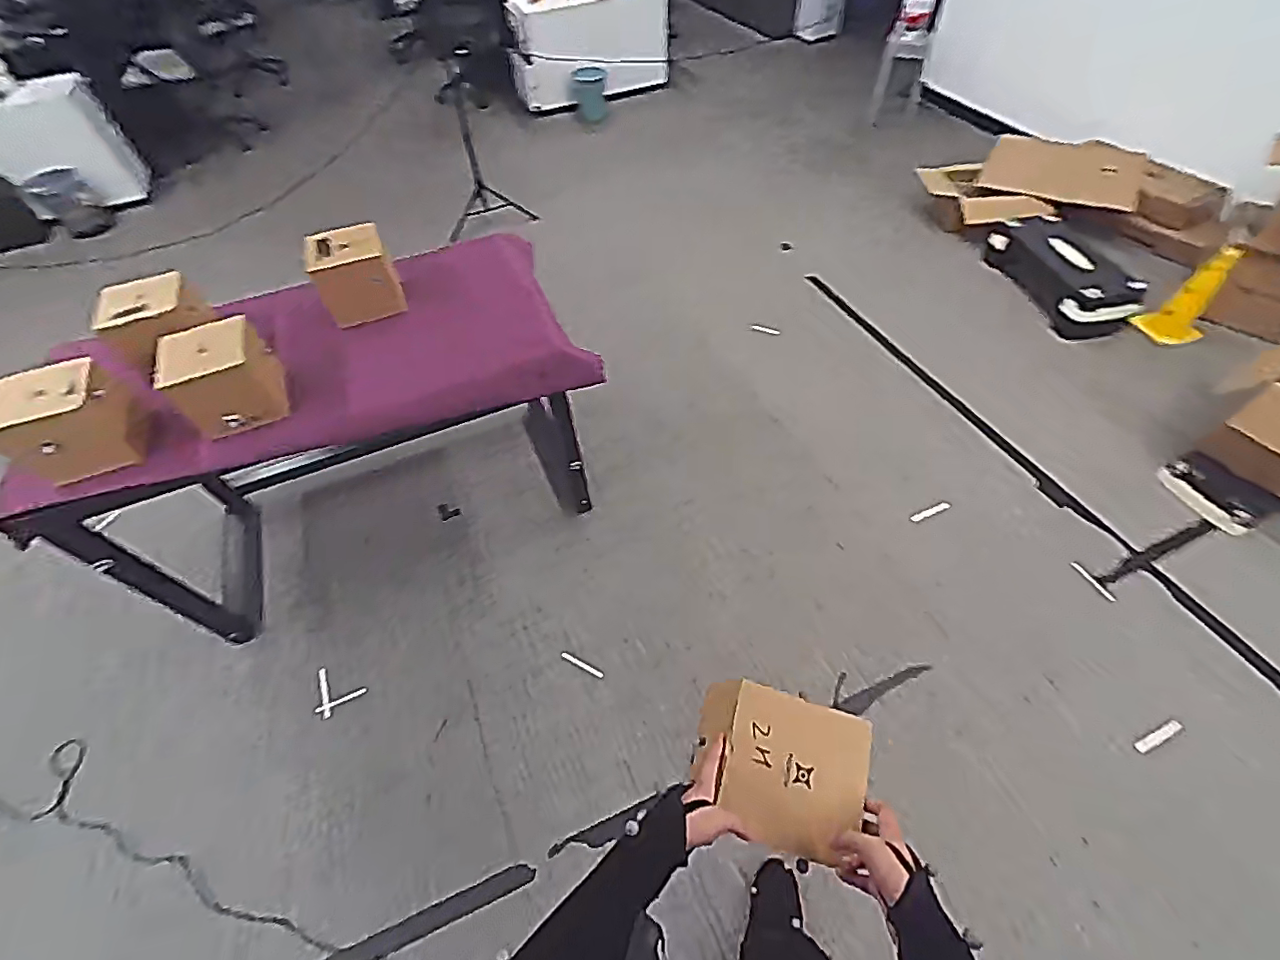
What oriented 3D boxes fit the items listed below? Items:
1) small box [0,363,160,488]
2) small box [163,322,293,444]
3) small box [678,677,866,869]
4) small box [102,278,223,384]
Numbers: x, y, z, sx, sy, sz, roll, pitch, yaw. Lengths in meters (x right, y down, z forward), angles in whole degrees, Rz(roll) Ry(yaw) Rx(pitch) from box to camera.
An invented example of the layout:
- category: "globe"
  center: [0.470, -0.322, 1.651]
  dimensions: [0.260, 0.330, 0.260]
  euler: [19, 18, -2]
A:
- category: "small box"
  center: [-1.172, -0.110, 1.134]
  dimensions: [0.179, 0.176, 0.168]
  euler: [-21, 56, -11]
- category: "small box"
  center: [-0.902, -0.213, 1.198]
  dimensions: [0.168, 0.176, 0.179]
  euler: [-22, 57, -12]
- category: "small box"
  center: [0.164, 0.369, 0.707]
  dimensions: [0.179, 0.176, 0.168]
  euler: [18, 65, 0]
- category: "small box"
  center: [-1.139, -0.354, 1.314]
  dimensions: [0.168, 0.176, 0.179]
  euler: [-21, 55, -12]
